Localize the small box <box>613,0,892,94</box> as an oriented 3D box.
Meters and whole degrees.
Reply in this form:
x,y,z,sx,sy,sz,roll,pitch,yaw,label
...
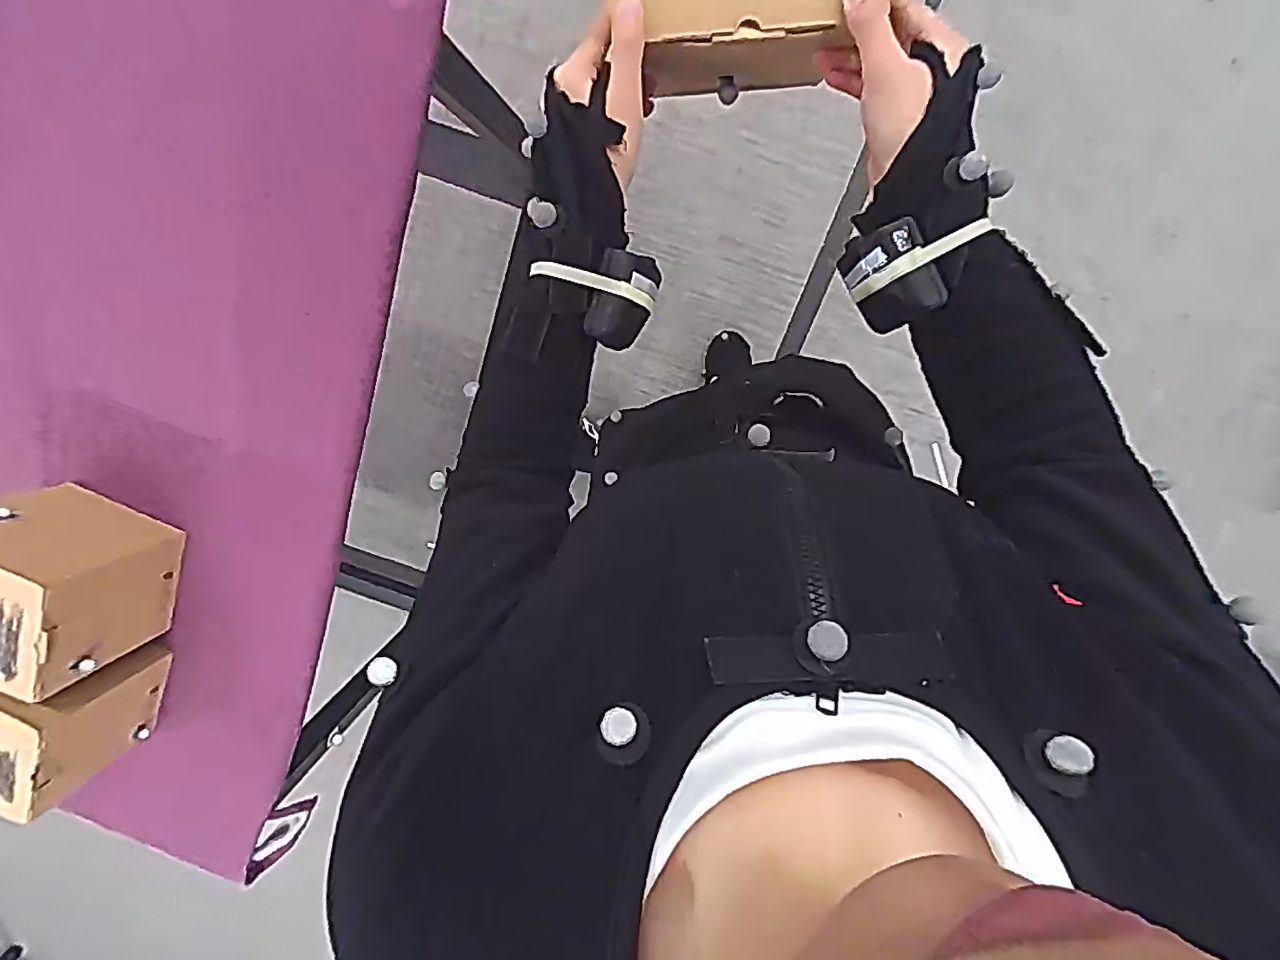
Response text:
x,y,z,sx,sy,sz,roll,pitch,yaw,label
0.065,-0.381,0.357,0.168,0.176,0.179,-2,116,4,small box
